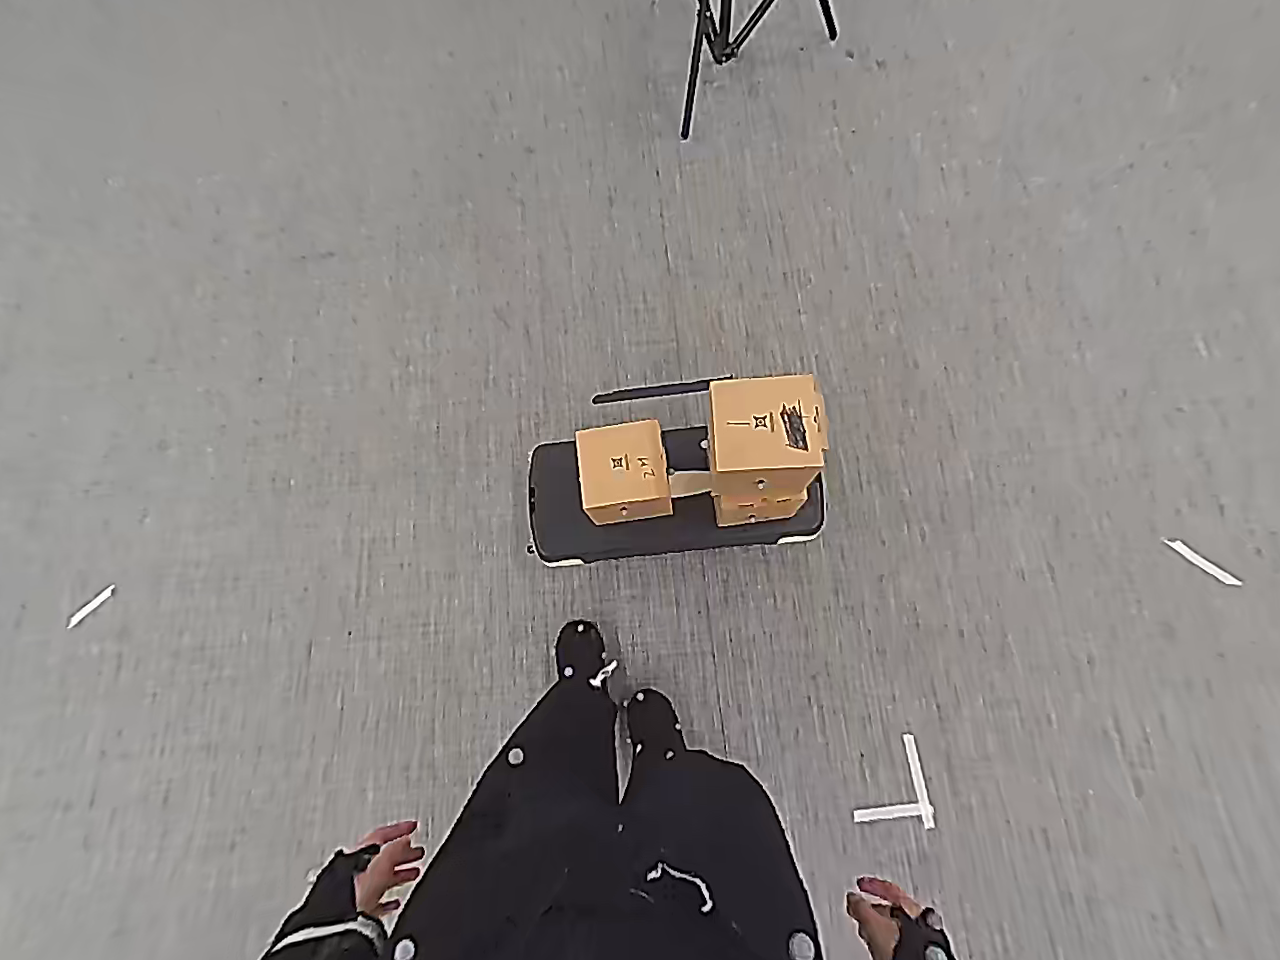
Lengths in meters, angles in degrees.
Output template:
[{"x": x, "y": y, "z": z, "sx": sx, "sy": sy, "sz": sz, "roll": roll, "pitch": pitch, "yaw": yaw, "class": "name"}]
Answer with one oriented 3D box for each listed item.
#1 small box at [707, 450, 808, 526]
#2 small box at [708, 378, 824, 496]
[{"x": 0.236, "y": -0.013, "z": 1.129, "sx": 0.168, "sy": 0.176, "sz": 0.179, "roll": -8, "pitch": 74, "yaw": 2, "class": "small box"}, {"x": 0.217, "y": -0.071, "z": 0.976, "sx": 0.179, "sy": 0.176, "sz": 0.168, "roll": -3, "pitch": 74, "yaw": 5, "class": "small box"}]
